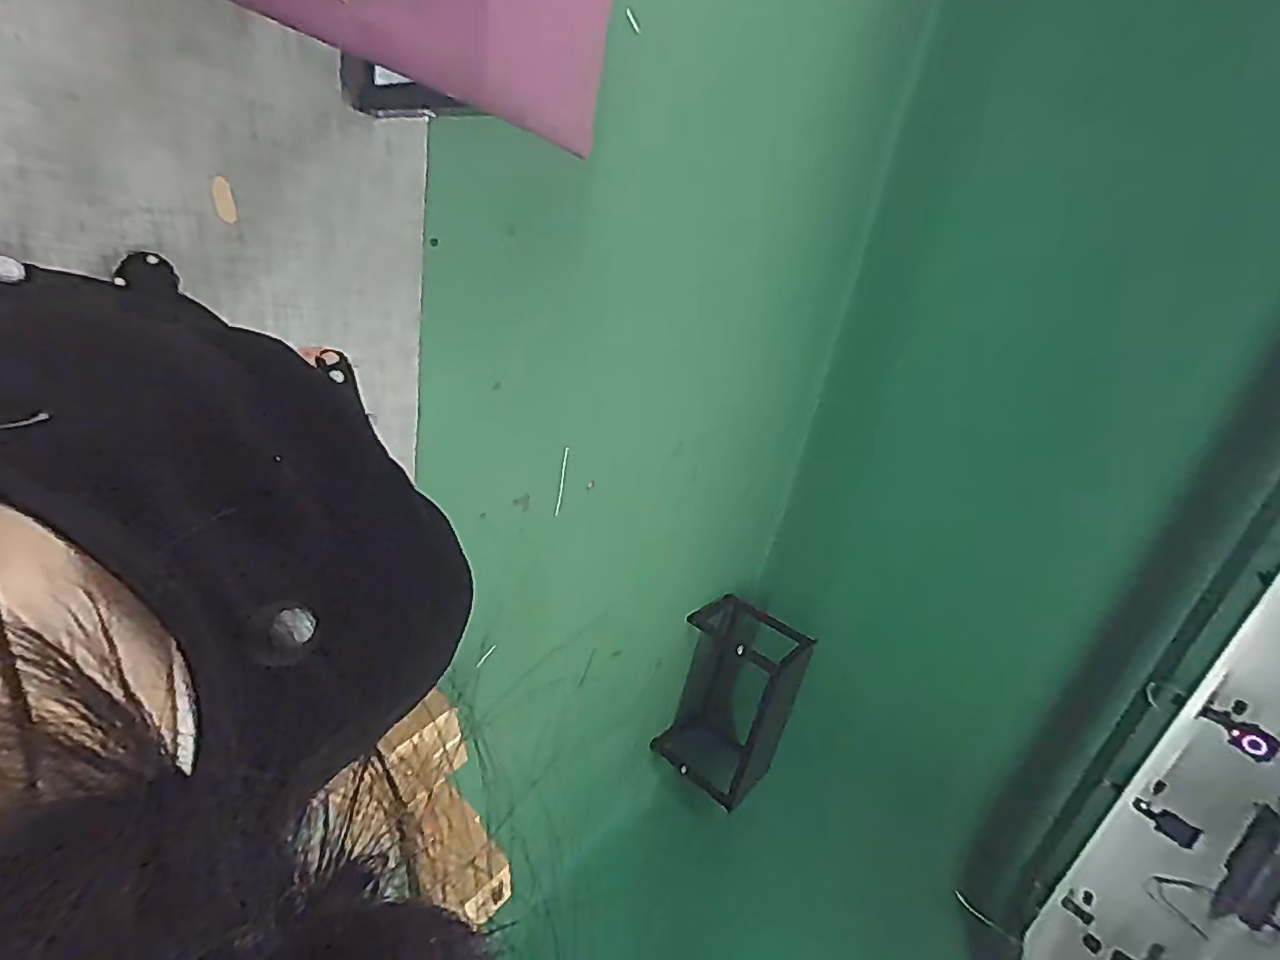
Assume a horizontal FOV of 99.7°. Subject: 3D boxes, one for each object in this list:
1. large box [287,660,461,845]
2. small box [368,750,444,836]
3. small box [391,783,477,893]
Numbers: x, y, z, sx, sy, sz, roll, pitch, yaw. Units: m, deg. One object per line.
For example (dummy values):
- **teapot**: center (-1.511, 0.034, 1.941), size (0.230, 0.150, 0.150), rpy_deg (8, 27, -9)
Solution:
- **large box**: center (-0.895, 0.911, 1.855), size (0.408, 0.320, 0.320), rpy_deg (-32, 136, -41)
- **small box**: center (-0.725, 0.982, 1.688), size (0.168, 0.176, 0.179), rpy_deg (-24, 129, -44)
- **small box**: center (-0.606, 1.047, 1.599), size (0.179, 0.176, 0.168), rpy_deg (-23, 128, -44)
